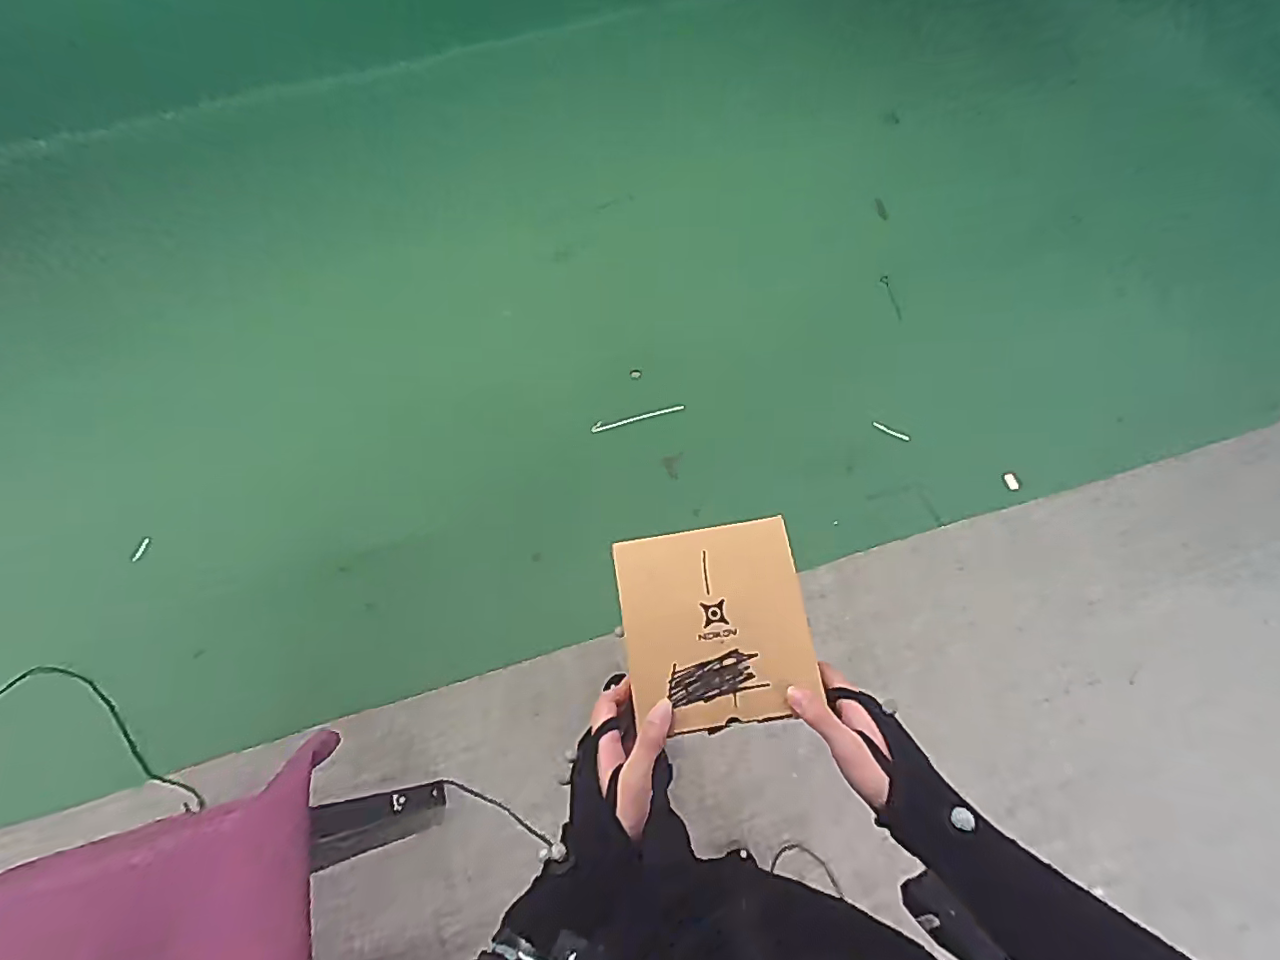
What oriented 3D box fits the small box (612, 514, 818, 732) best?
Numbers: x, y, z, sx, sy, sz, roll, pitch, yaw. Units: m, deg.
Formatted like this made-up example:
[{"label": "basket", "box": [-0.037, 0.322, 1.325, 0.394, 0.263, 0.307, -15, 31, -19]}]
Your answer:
[{"label": "small box", "box": [0.067, 0.147, 0.563, 0.168, 0.176, 0.179, -8, 72, 0]}]
